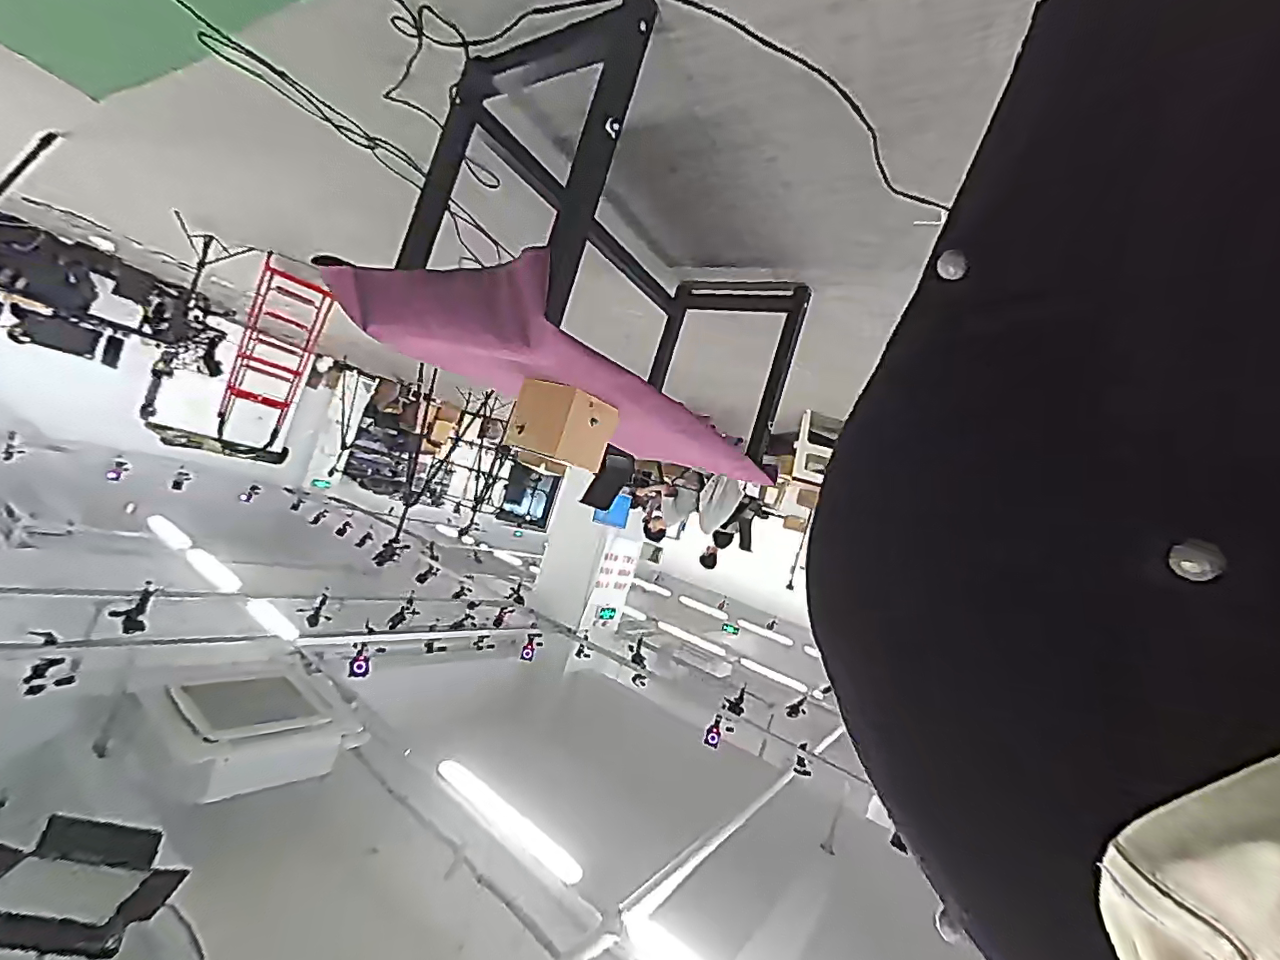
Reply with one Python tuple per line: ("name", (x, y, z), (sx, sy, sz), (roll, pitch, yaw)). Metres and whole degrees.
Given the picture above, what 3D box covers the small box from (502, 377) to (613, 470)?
("small box", (-0.193, -0.137, 1.293), (0.179, 0.176, 0.168), (16, 178, 33))
